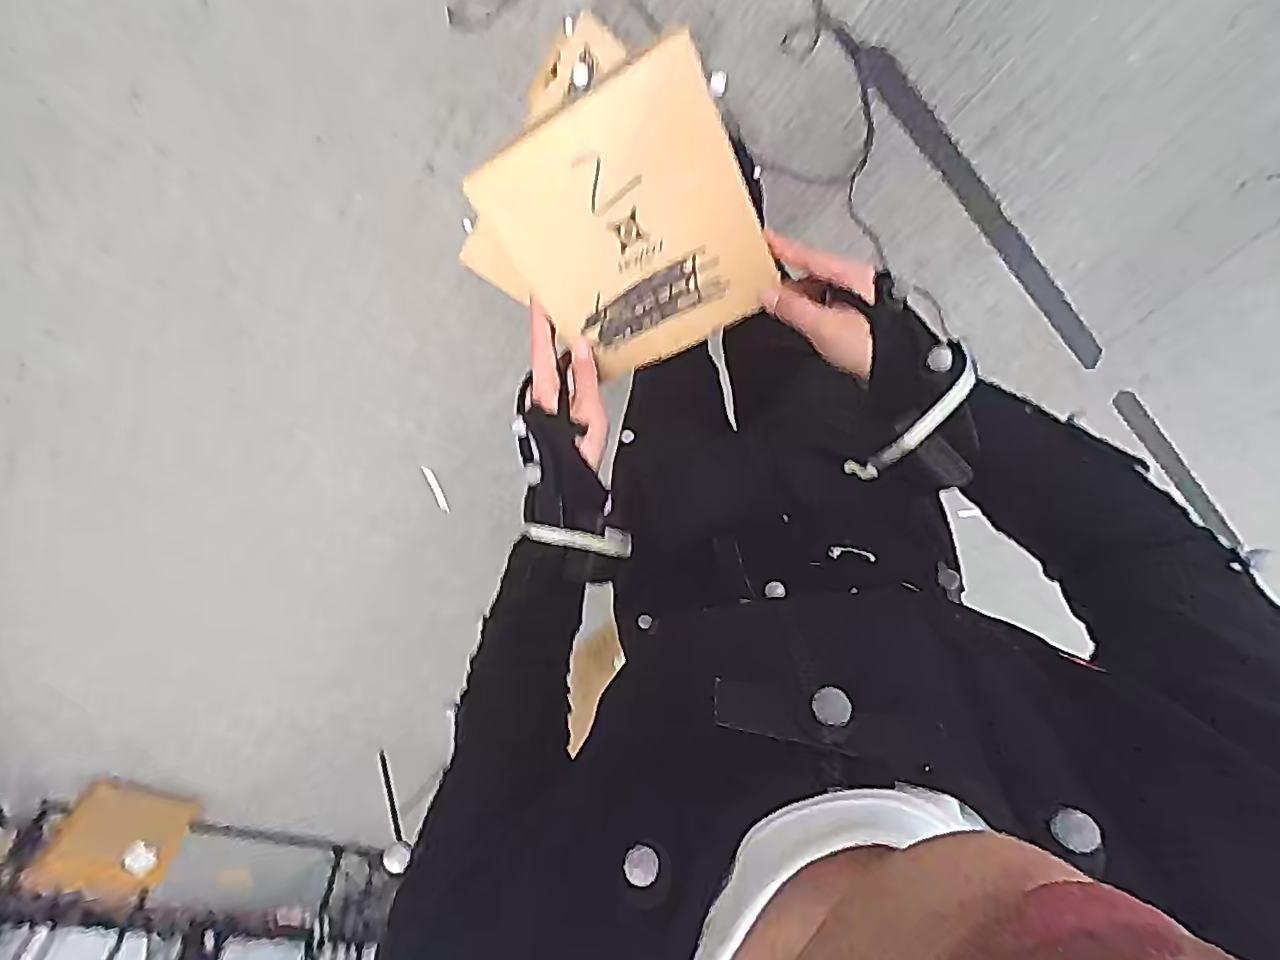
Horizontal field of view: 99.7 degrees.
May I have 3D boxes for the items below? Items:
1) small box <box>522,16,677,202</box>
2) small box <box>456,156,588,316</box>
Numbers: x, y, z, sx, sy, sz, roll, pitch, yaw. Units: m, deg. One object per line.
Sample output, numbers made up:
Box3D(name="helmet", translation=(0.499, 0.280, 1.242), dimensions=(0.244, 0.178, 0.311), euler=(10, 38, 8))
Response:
Box3D(name="small box", translation=(-0.066, -0.587, 0.862), dimensions=(0.179, 0.176, 0.168), euler=(28, 123, -26))
Box3D(name="small box", translation=(-0.204, -0.441, 0.976), dimensions=(0.168, 0.176, 0.179), euler=(29, 124, -27))
